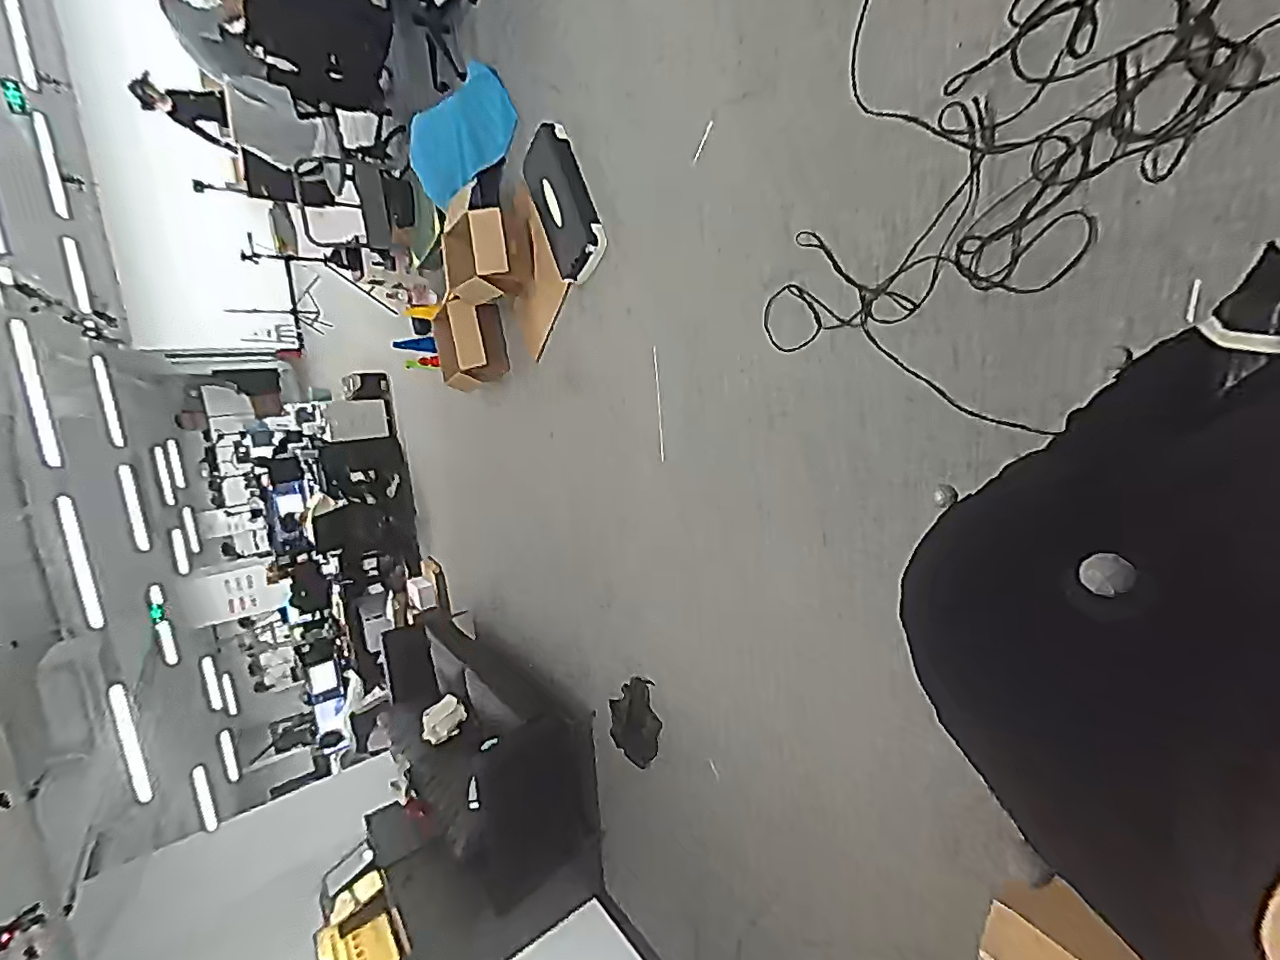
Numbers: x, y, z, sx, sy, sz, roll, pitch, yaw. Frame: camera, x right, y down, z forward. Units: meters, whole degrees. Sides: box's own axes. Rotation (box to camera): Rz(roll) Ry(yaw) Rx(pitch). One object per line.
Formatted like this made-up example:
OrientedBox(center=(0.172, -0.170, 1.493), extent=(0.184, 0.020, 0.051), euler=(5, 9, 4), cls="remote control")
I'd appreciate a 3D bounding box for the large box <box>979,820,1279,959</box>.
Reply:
OrientedBox(center=(0.980, 1.020, 1.099), extent=(0.408, 0.320, 0.320), euler=(21, 115, 51), cls="large box")
